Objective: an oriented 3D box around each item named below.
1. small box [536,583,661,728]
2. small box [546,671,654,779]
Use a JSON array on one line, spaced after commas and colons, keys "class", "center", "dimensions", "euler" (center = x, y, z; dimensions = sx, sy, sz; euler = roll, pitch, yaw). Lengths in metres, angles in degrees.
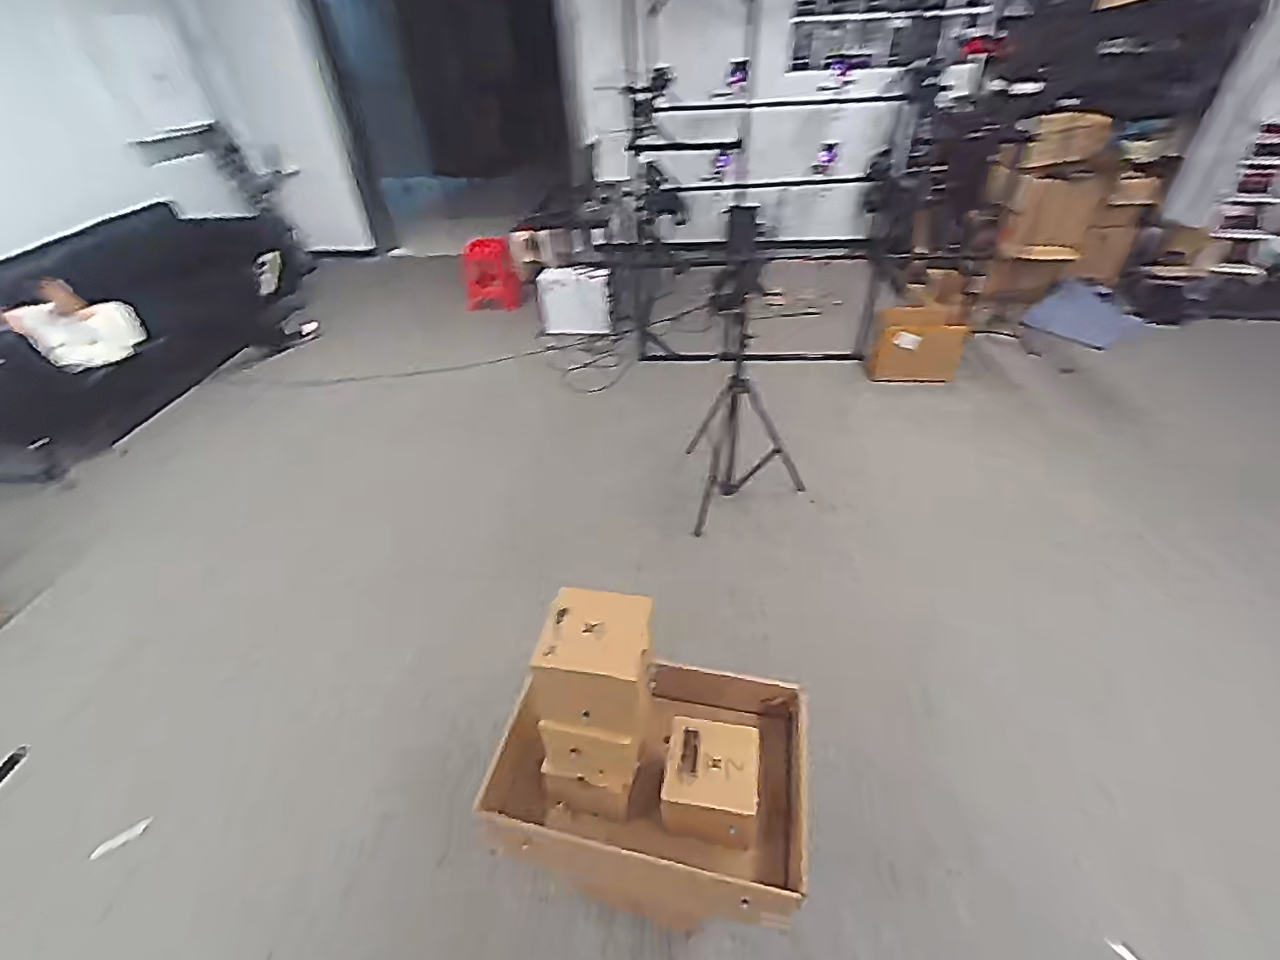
[{"class": "small box", "center": [-0.065, 0.311, 0.953], "dimensions": [0.179, 0.176, 0.168], "euler": [8, 38, 9]}, {"class": "small box", "center": [-0.068, 0.445, 1.048], "dimensions": [0.168, 0.176, 0.179], "euler": [8, 39, 10]}]
